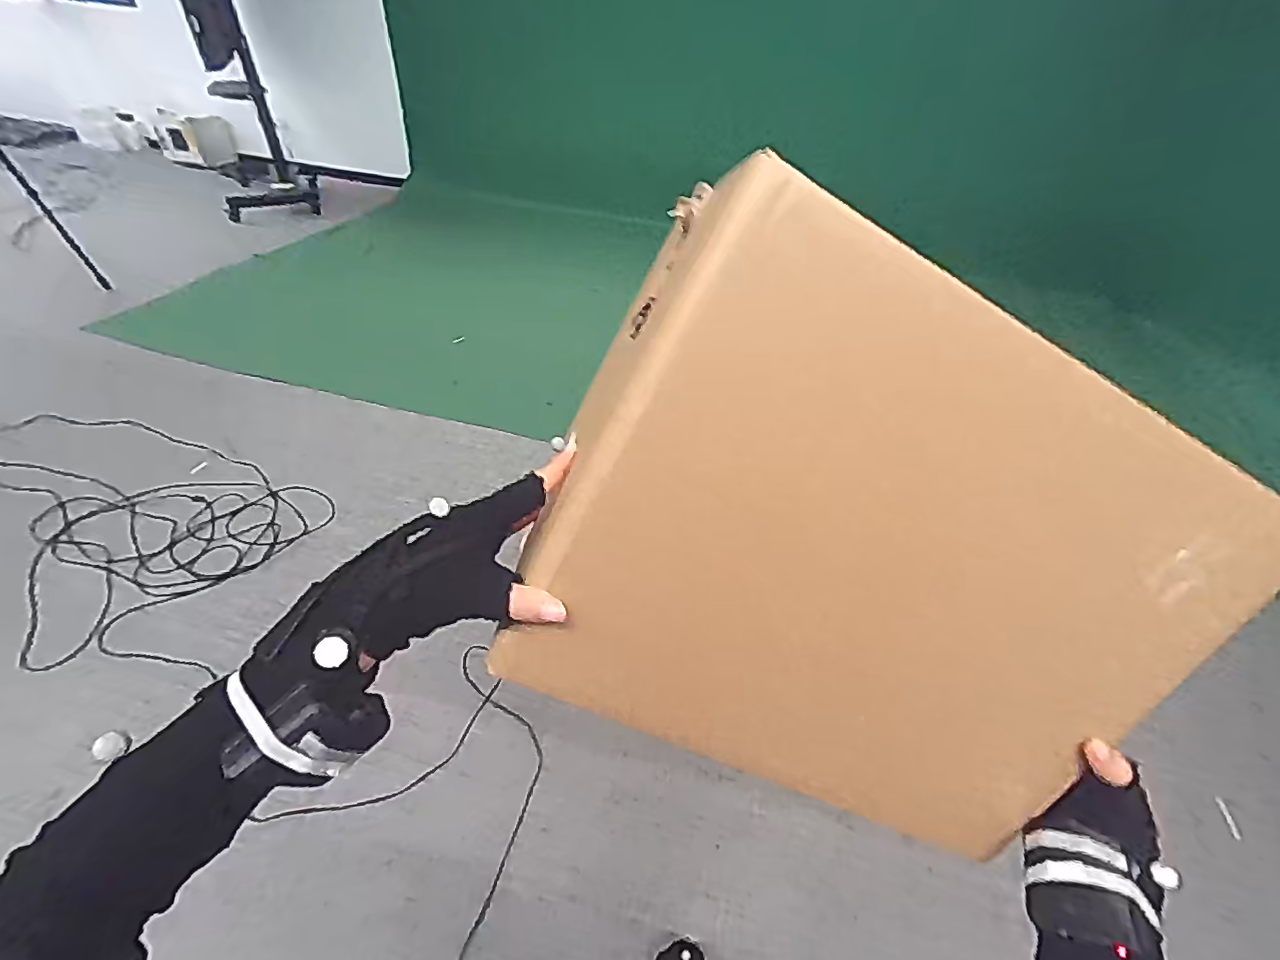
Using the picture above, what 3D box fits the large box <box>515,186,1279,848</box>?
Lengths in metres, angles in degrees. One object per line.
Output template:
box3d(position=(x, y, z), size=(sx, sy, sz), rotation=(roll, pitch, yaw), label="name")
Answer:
box3d(position=(0.153, 0.026, 0.471), size=(0.408, 0.320, 0.320), rotation=(28, 17, -12), label="large box")
